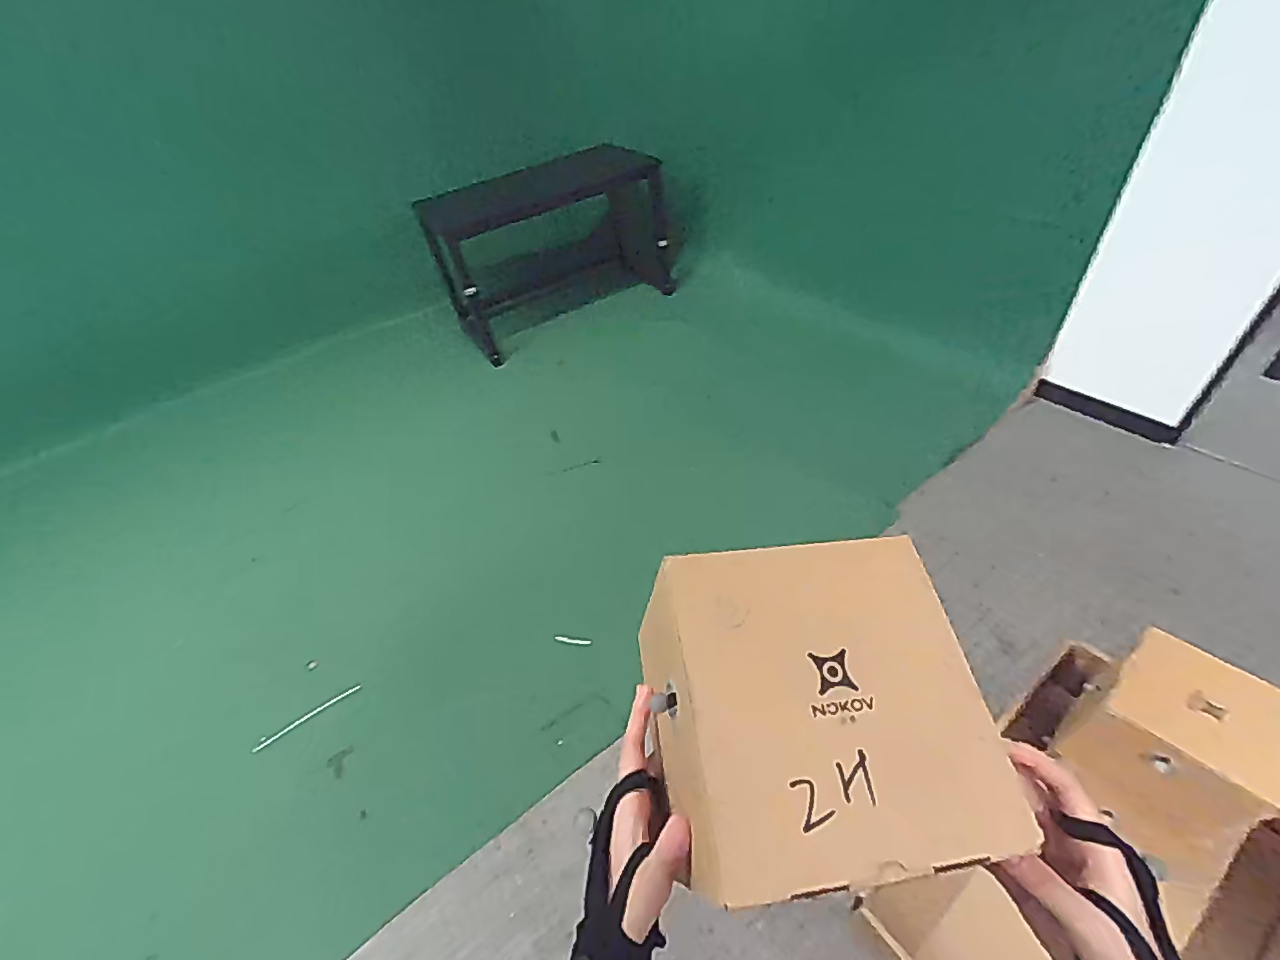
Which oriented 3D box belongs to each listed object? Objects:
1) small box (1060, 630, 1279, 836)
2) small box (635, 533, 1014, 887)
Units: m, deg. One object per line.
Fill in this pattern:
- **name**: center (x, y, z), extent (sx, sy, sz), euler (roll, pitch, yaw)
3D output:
- **small box**: center (0.738, 0.352, 0.746), extent (0.168, 0.176, 0.179), euler (-36, 48, -23)
- **small box**: center (0.091, 0.154, 0.371), extent (0.168, 0.176, 0.179), euler (-3, 59, -8)
